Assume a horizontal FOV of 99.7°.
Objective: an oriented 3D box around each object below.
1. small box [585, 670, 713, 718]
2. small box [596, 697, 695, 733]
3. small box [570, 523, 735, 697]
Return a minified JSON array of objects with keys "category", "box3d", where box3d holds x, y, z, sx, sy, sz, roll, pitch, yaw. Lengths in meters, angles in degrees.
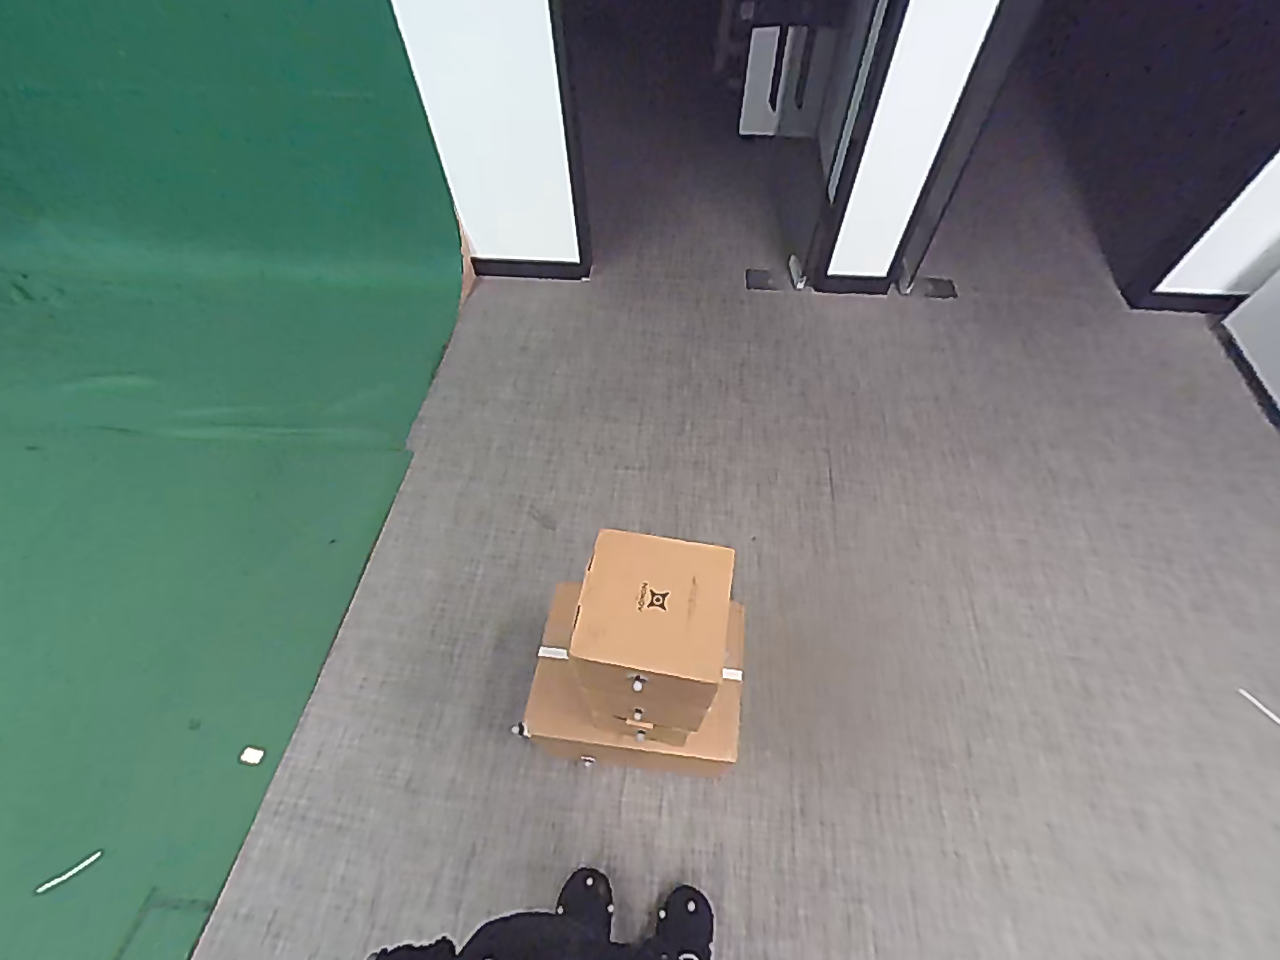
[{"category":"small box","box3d":[0.027,0.262,0.841,0.179,0.176,0.168,7,58,8]},{"category":"small box","box3d":[0.027,0.348,0.983,0.168,0.176,0.179,7,59,7]},{"category":"small box","box3d":[0.022,0.174,0.706,0.179,0.176,0.168,7,59,6]}]
